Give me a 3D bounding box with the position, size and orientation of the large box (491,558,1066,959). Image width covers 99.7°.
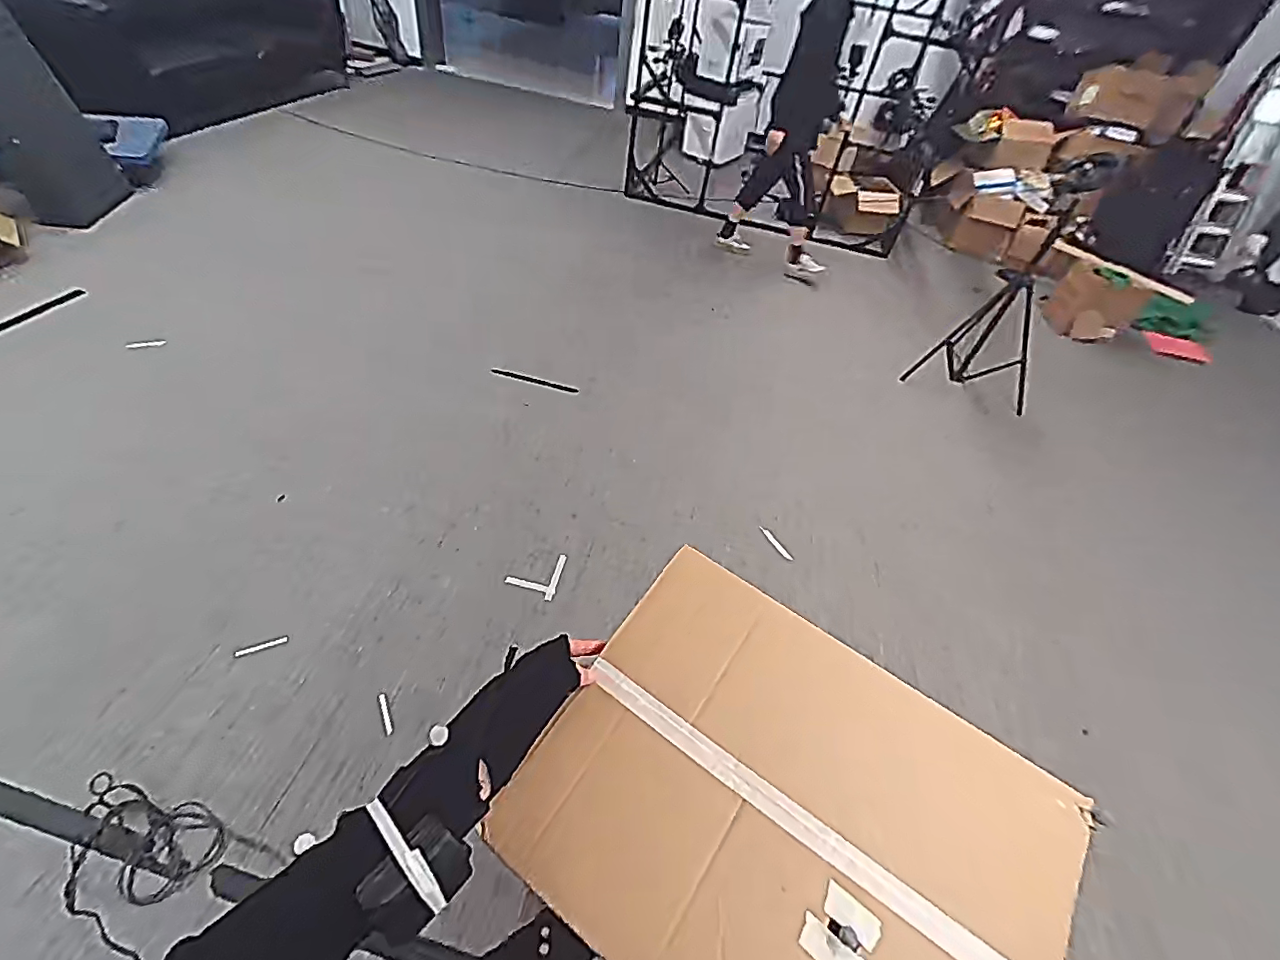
[{"bbox_3d":[0.116,0.361,0.578,0.408,0.320,0.320,32,61,18],"label":"large box"}]
